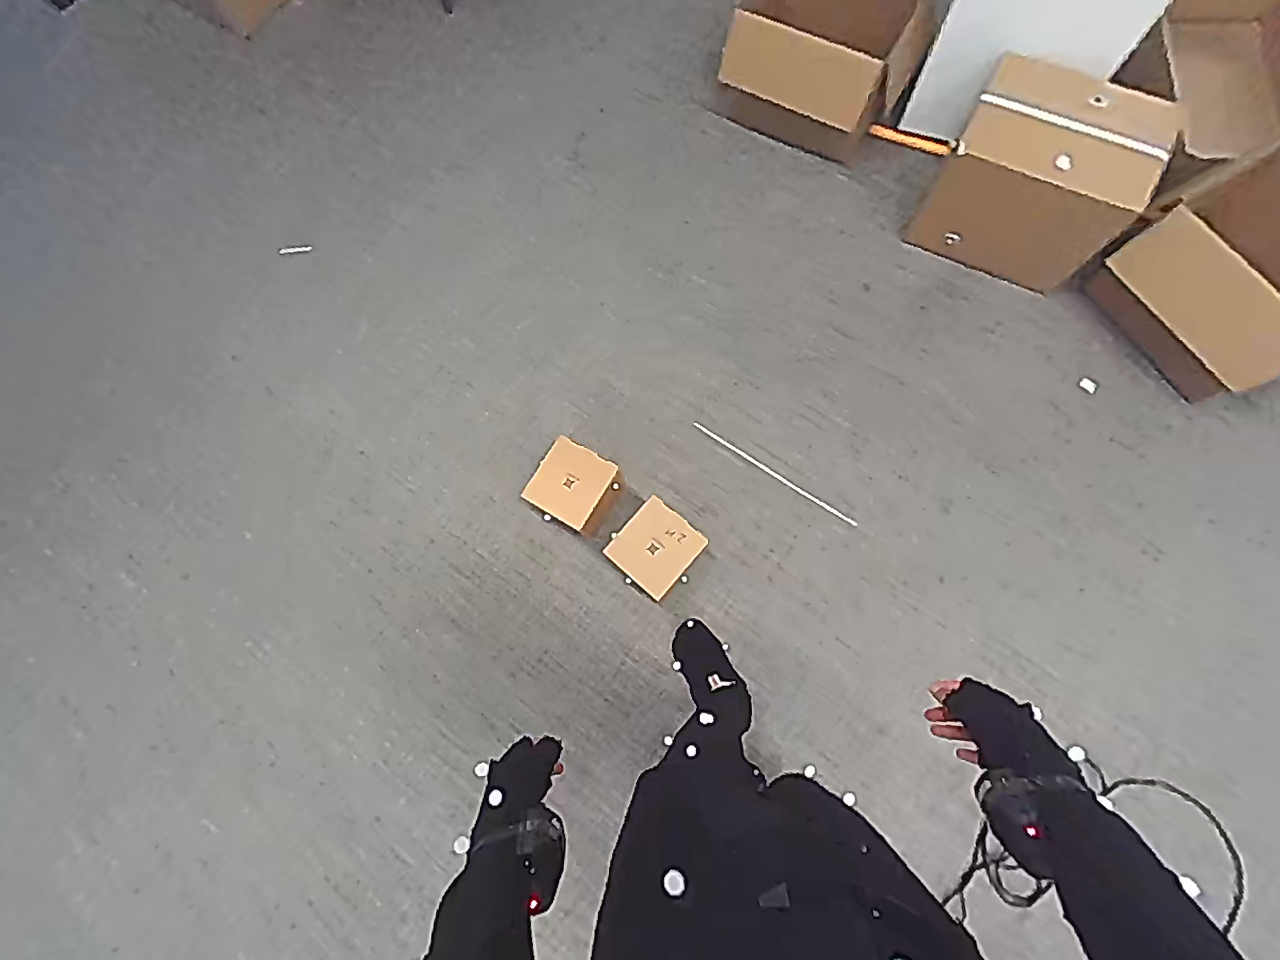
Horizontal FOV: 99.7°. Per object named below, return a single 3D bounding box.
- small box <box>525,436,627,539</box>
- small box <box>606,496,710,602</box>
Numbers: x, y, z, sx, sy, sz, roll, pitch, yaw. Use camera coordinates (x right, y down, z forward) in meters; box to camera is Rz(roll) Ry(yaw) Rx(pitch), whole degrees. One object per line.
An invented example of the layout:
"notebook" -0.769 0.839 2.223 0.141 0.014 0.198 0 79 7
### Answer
"small box" -0.145 0.025 1.314 0.168 0.176 0.179 29 80 11
"small box" 0.048 0.168 1.259 0.168 0.176 0.179 40 82 13
